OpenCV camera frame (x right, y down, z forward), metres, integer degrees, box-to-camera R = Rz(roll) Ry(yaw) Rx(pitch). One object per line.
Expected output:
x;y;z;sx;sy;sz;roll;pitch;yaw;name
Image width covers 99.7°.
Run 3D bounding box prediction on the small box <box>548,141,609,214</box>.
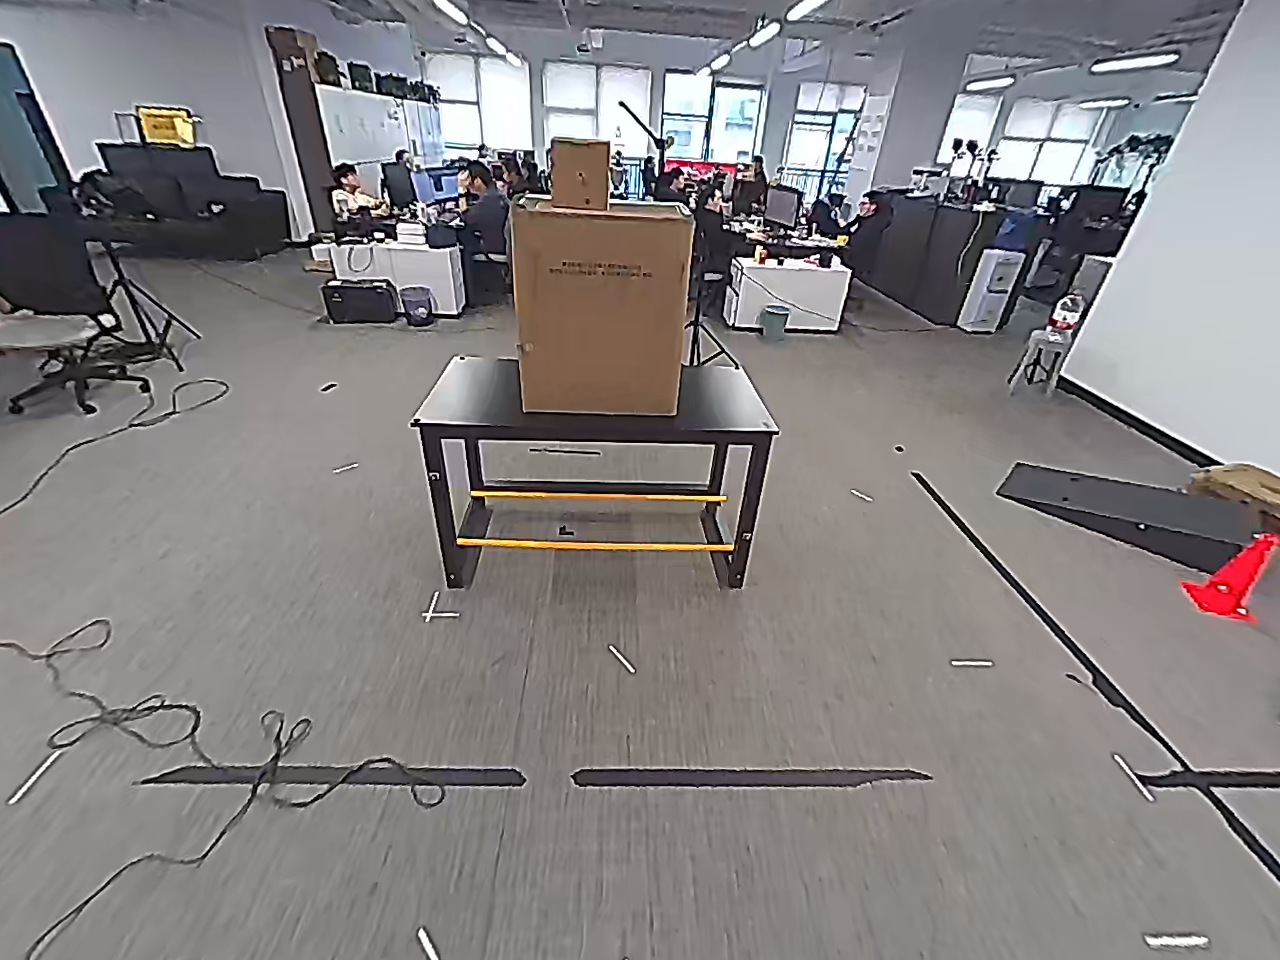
-0.177;-0.894;1.599;0.168;0.176;0.179;2;35;-4;small box
